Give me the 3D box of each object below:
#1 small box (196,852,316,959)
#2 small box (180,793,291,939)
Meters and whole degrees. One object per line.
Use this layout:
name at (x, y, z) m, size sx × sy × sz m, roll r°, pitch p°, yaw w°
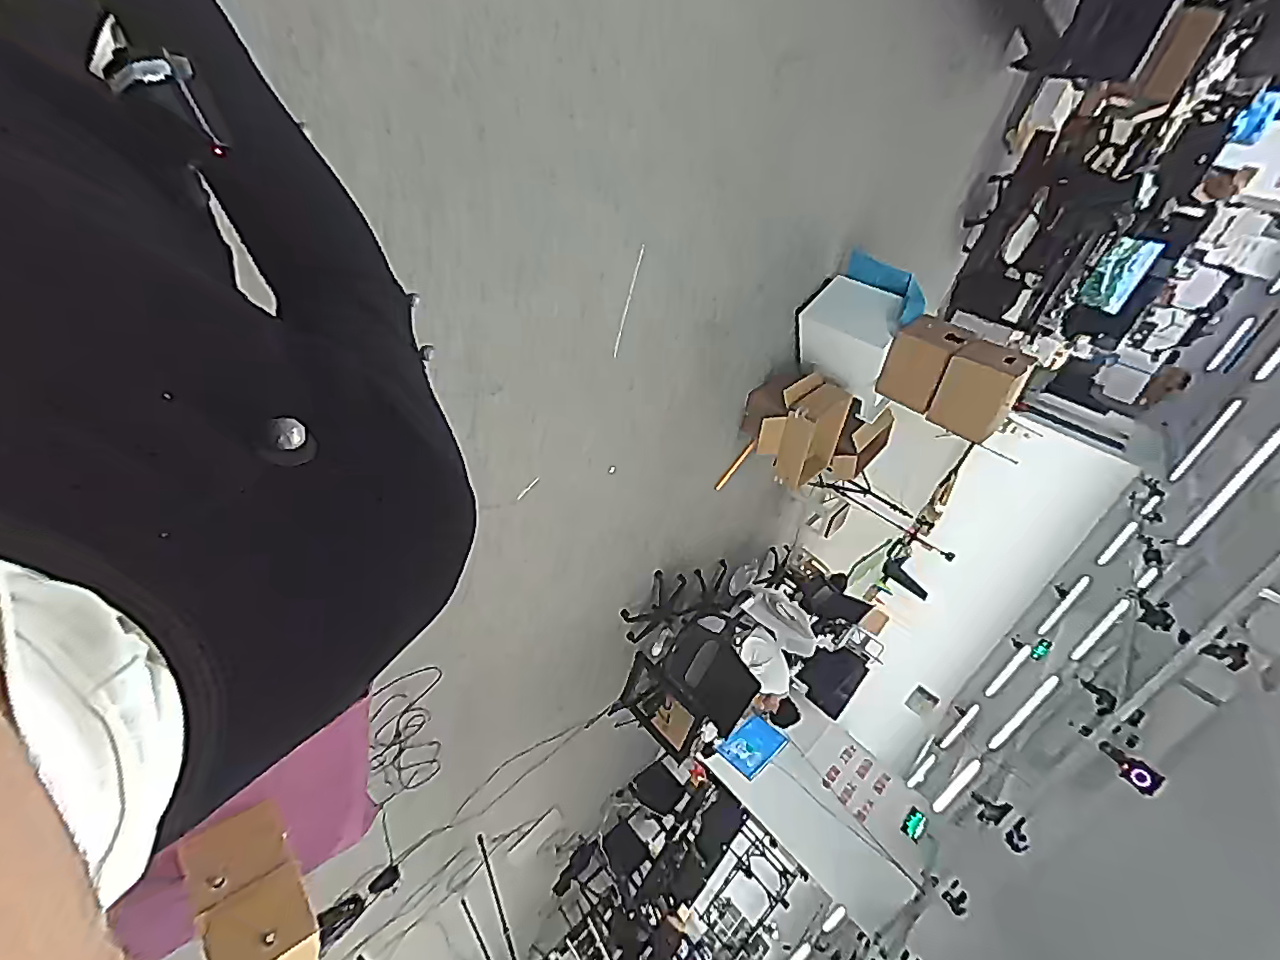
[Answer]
small box at (-0.807, 0.945, 1.137) m, size 0.179 × 0.176 × 0.168 m, roll -13°, pitch 131°, yaw -45°
small box at (-0.916, 0.863, 1.225) m, size 0.179 × 0.176 × 0.168 m, roll -12°, pitch 131°, yaw -45°
